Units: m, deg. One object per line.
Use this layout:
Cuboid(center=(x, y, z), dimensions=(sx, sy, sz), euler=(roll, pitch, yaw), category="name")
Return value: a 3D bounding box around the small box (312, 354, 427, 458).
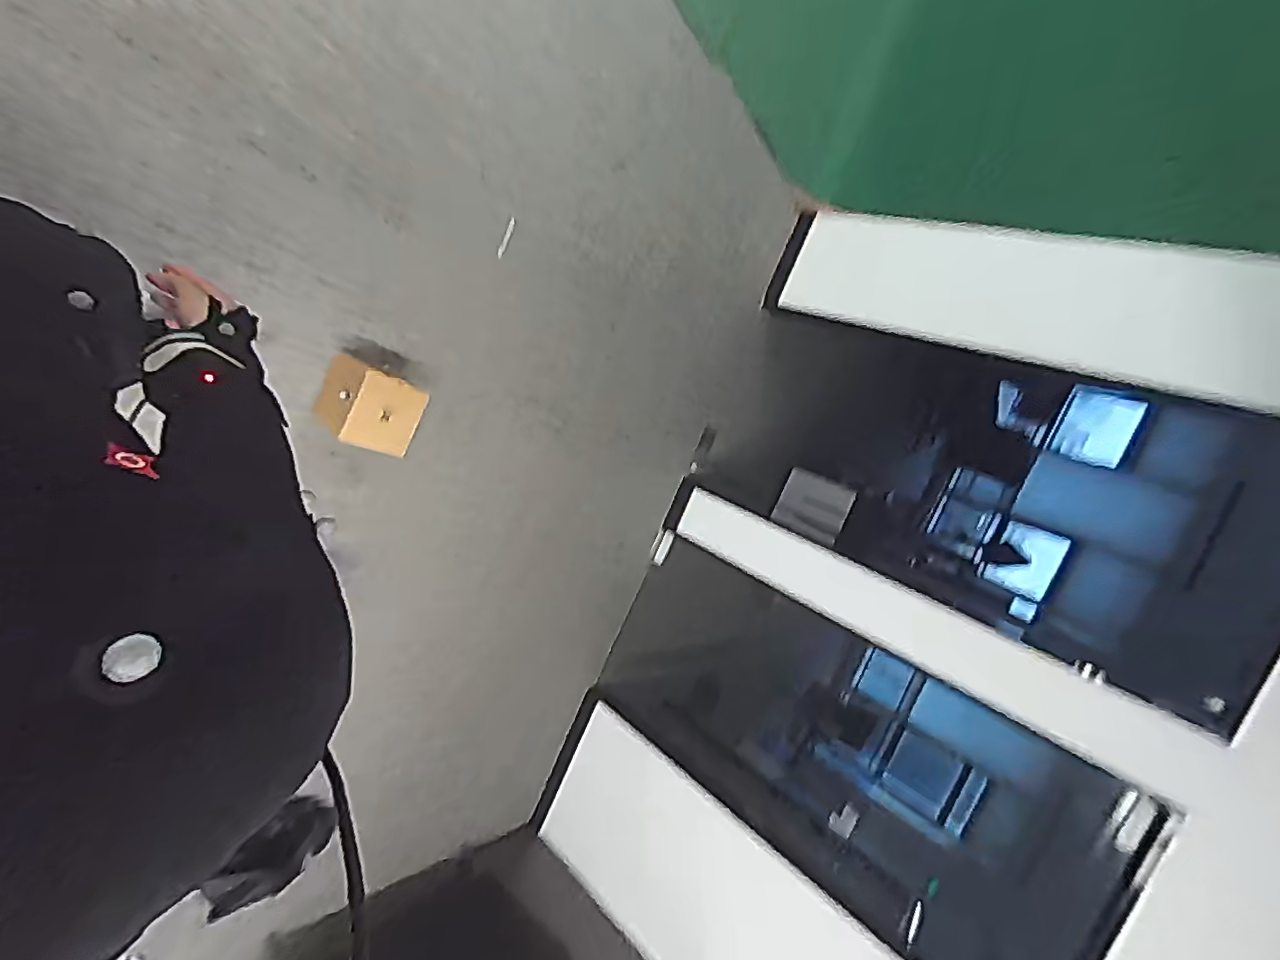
Cuboid(center=(-0.660, -0.179, 1.309), dimensions=(0.168, 0.176, 0.179), euler=(23, 94, -56), category="small box")
